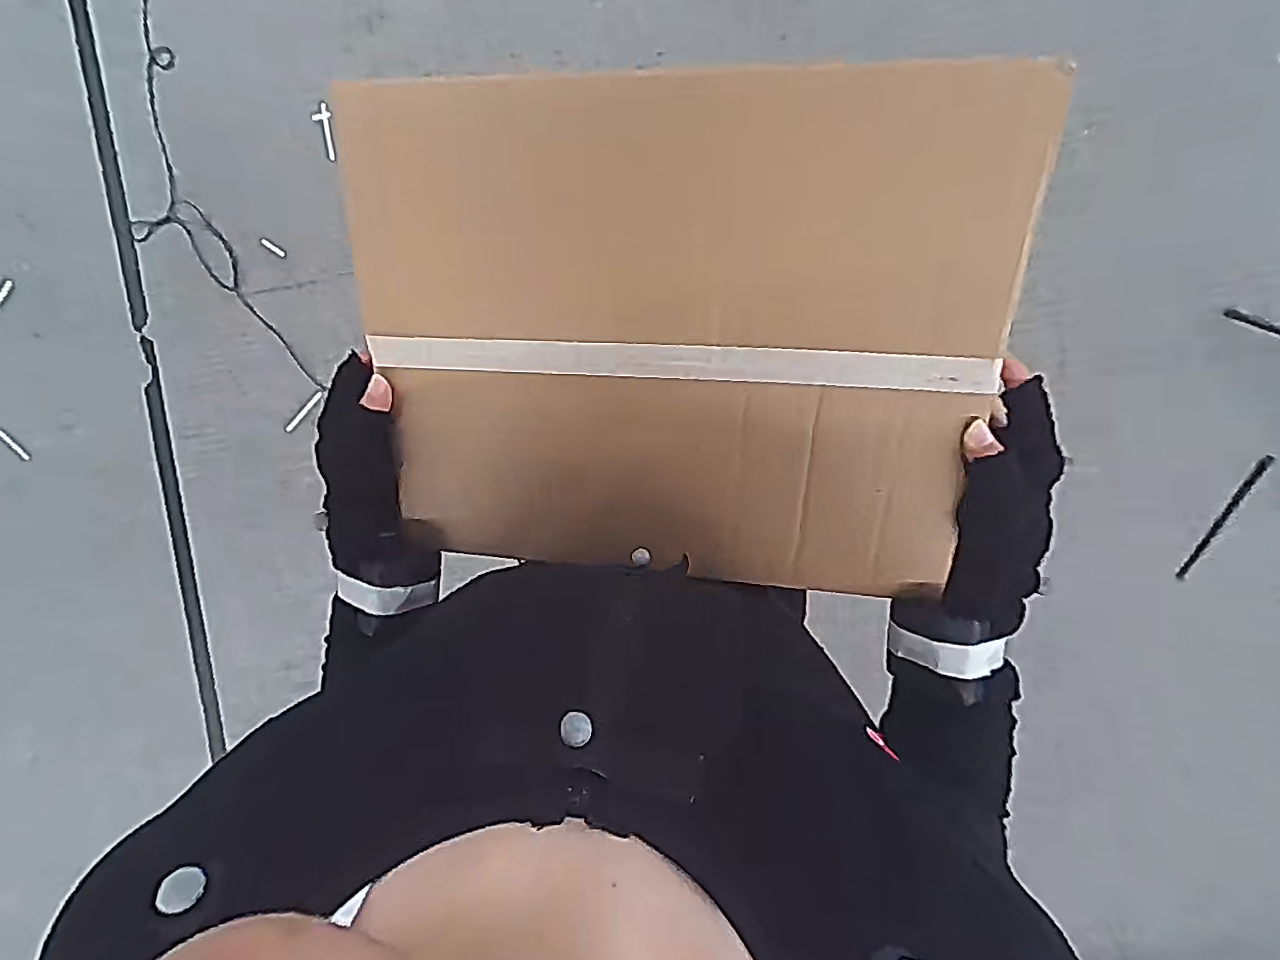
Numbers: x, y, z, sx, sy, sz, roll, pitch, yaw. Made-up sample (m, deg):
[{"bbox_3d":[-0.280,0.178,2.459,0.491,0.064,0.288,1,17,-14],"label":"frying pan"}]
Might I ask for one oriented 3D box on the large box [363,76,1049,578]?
[{"bbox_3d":[0.040,-0.135,0.501,0.408,0.320,0.320,4,113,8],"label":"large box"}]
